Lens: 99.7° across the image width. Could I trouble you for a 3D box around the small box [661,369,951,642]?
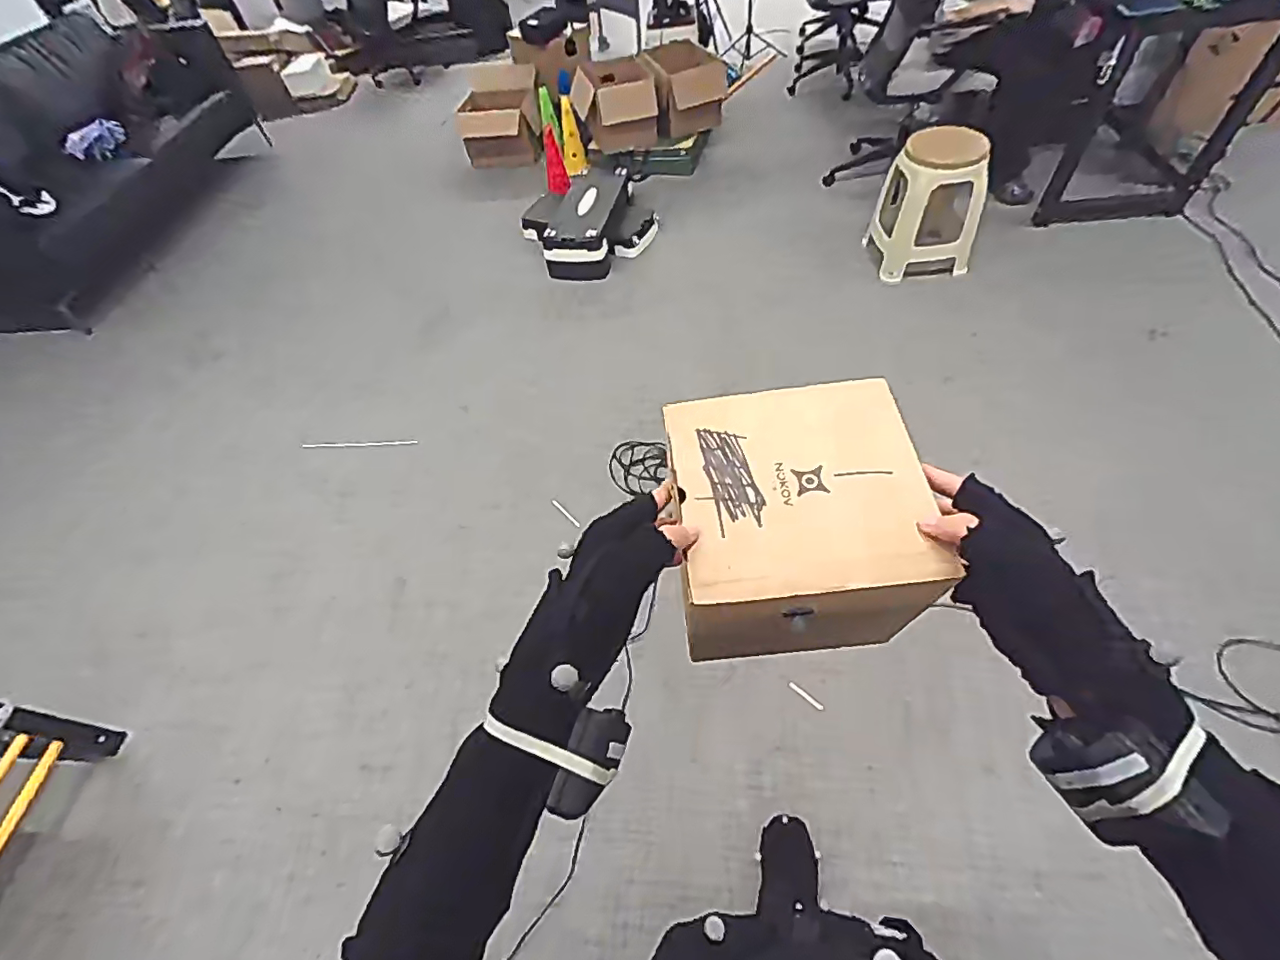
[{"bbox_3d":[0.116,0.032,0.456,0.179,0.176,0.168,-6,60,1],"label":"small box"}]
